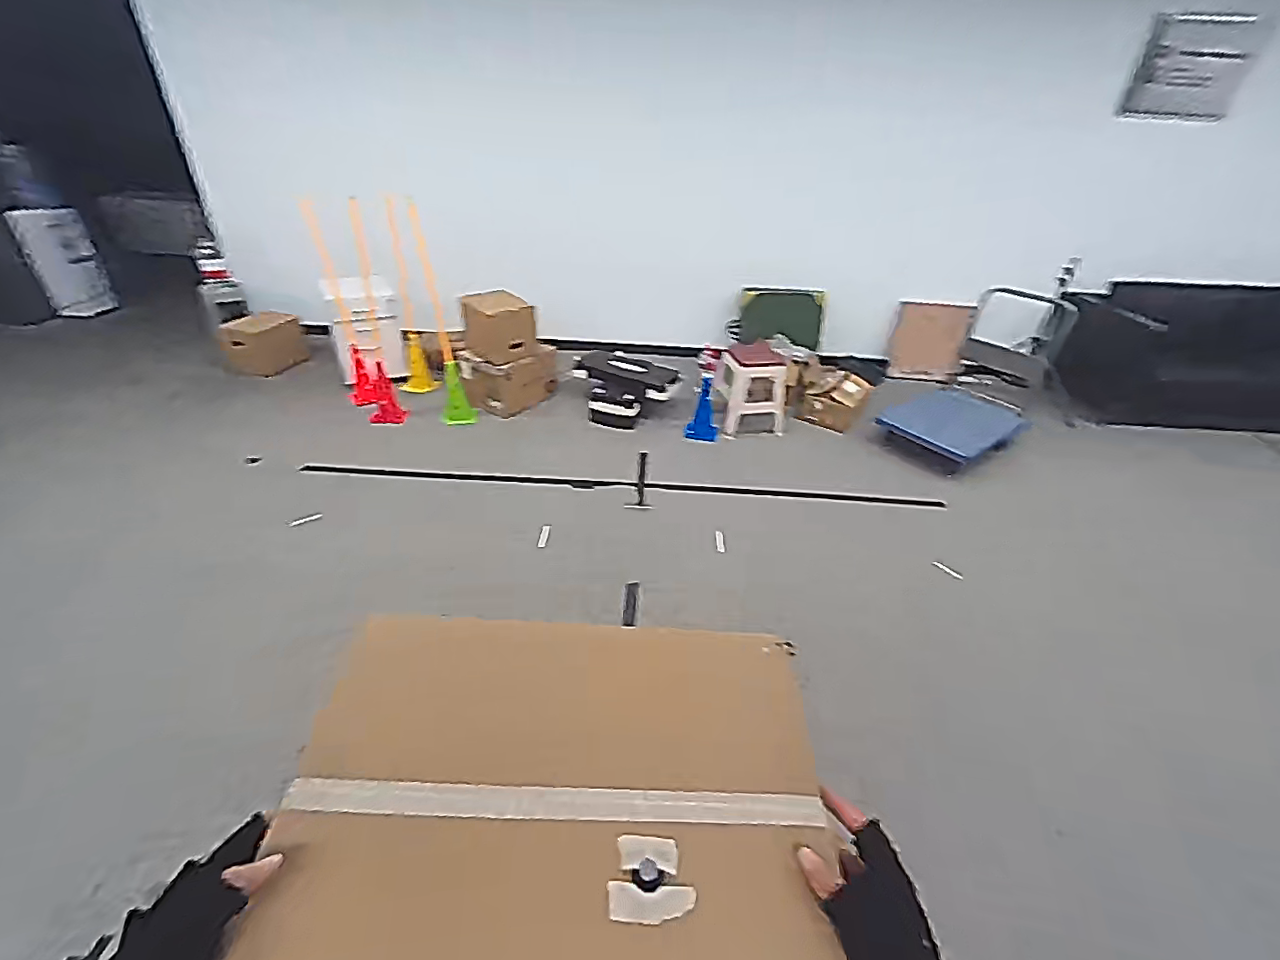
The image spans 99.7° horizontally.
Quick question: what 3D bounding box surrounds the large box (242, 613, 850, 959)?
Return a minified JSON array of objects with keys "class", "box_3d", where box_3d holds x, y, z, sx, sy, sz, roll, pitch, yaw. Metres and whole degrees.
[{"class":"large box","box_3d":[-0.068,0.355,0.529,0.408,0.320,0.320,4,43,-2]}]
